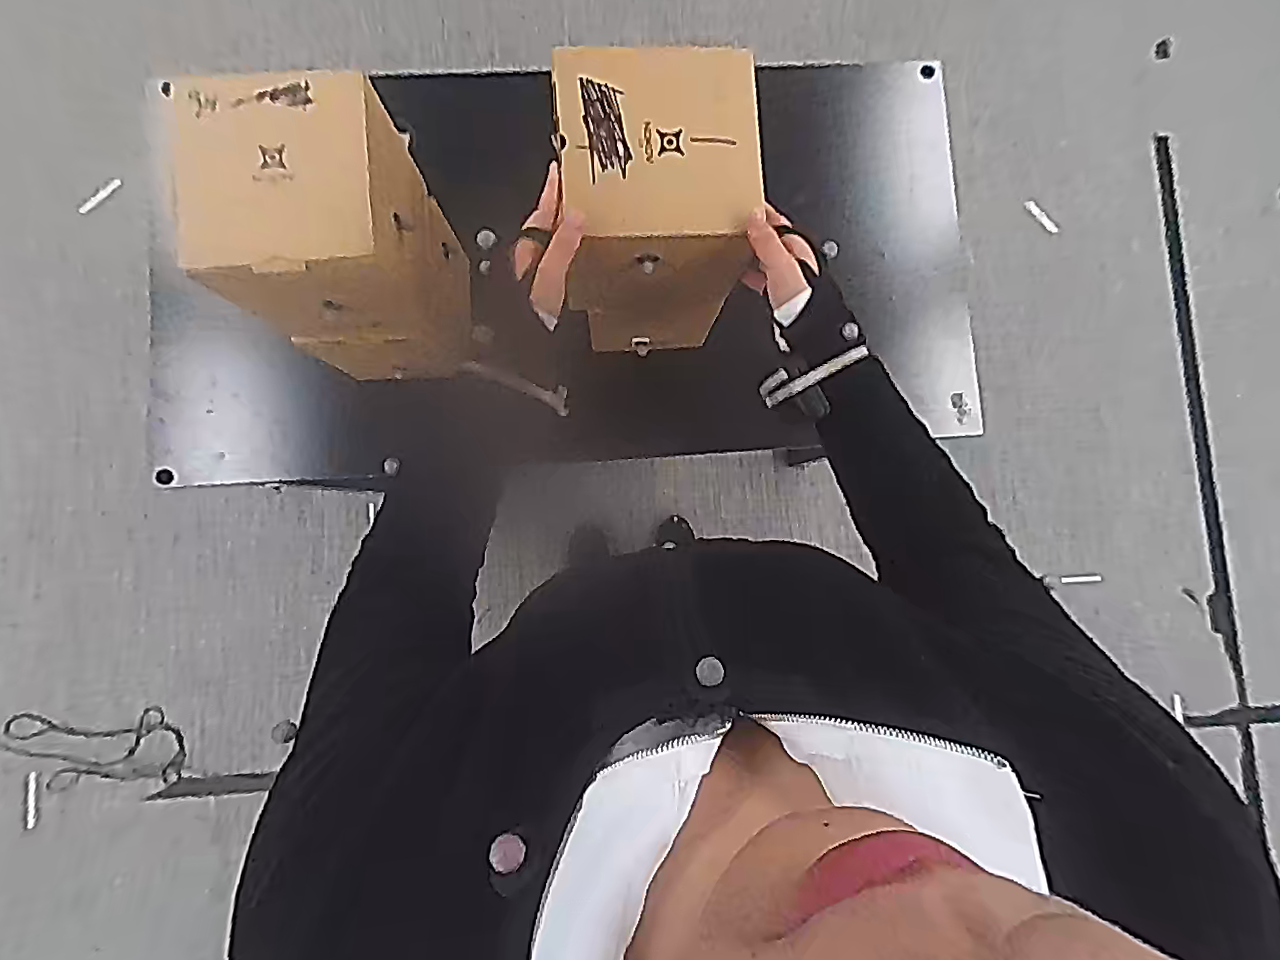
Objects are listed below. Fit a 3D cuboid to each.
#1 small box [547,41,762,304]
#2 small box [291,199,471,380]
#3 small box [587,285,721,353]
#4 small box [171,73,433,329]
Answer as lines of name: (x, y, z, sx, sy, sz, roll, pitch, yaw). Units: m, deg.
small box: (0.007, -0.281, 0.531, 0.179, 0.176, 0.168, -3, 89, -6)
small box: (-0.327, -0.241, 0.712, 0.168, 0.176, 0.179, -2, 86, -3)
small box: (0.008, -0.287, 0.734, 0.168, 0.176, 0.179, -5, 87, -2)
small box: (-0.322, -0.262, 0.549, 0.168, 0.176, 0.179, -5, 87, -3)
